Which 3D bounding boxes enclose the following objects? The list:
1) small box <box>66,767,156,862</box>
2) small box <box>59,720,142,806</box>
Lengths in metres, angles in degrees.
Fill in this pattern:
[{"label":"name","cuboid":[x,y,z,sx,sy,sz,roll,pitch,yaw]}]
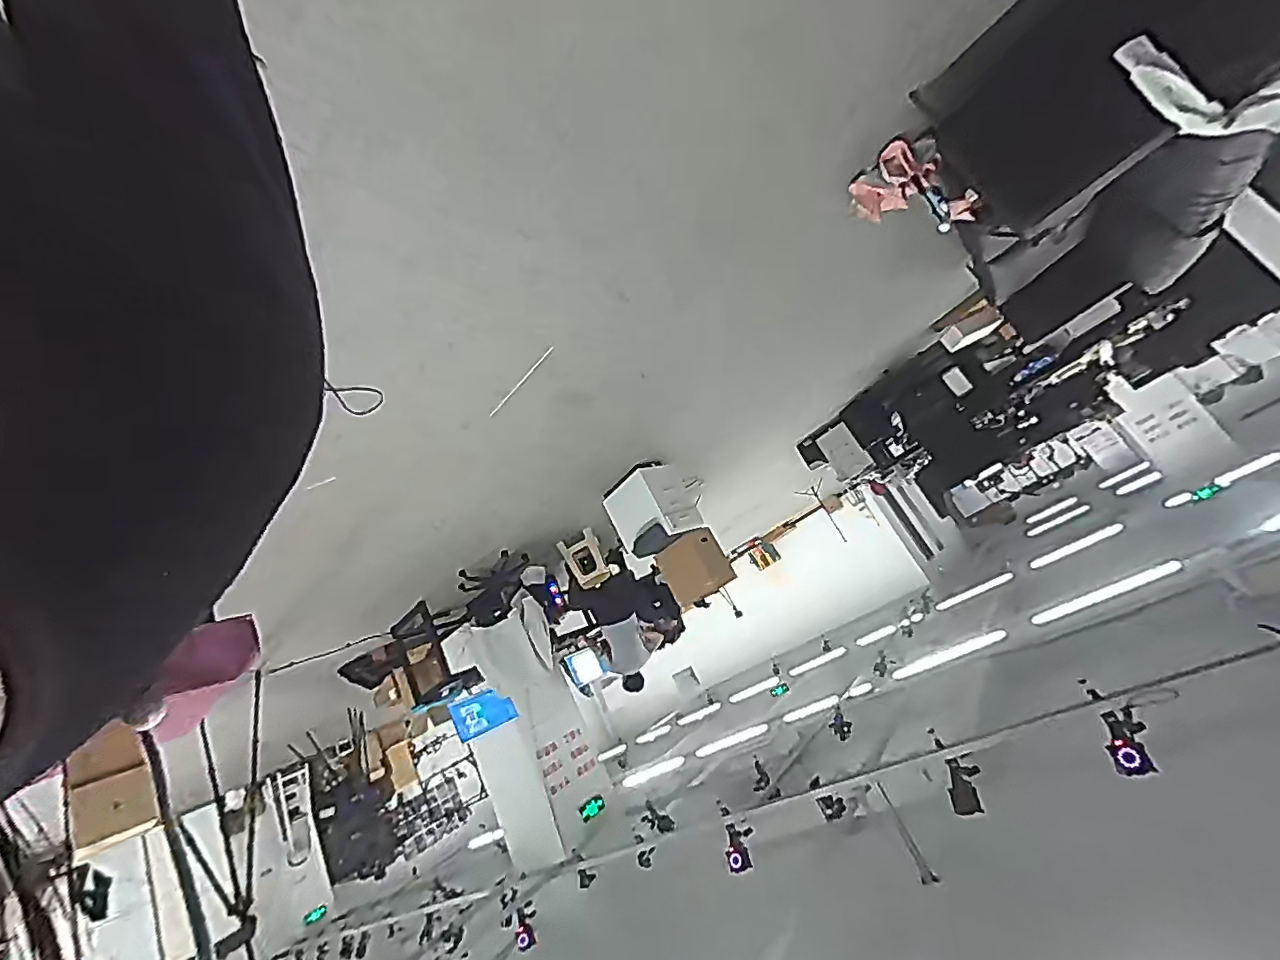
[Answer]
[{"label":"small box","cuboid":[-1.586,0.994,1.617,0.179,0.176,0.168,-7,152,-49]},{"label":"small box","cuboid":[-1.677,0.870,1.677,0.168,0.176,0.179,-5,152,-49]}]
